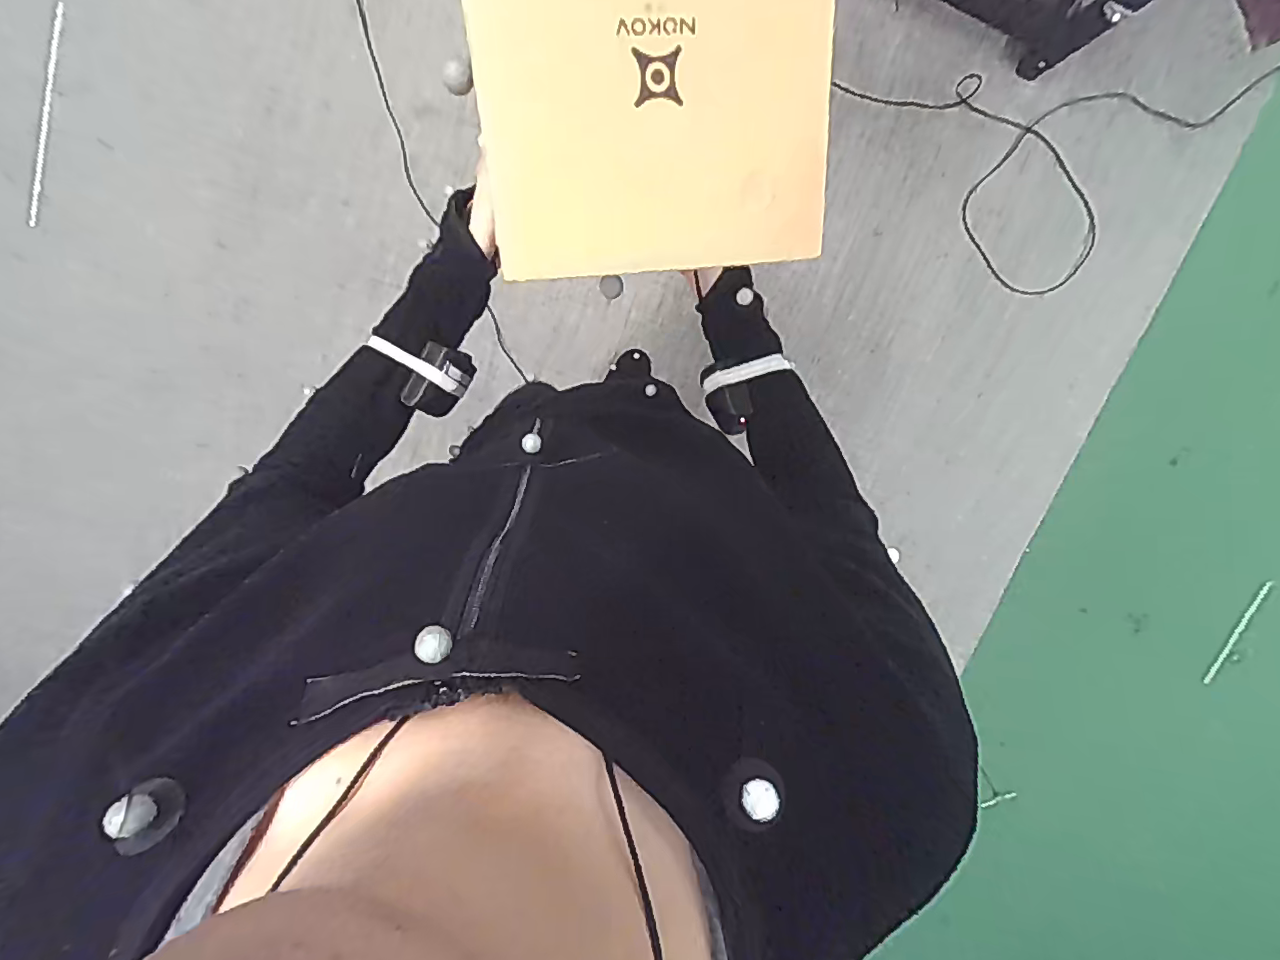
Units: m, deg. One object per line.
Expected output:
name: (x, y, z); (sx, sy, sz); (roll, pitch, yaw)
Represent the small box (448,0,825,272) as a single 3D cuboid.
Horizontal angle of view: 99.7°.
small box: (-0.008, -0.220, 0.312); (0.168, 0.176, 0.179); (-7, 111, -6)
